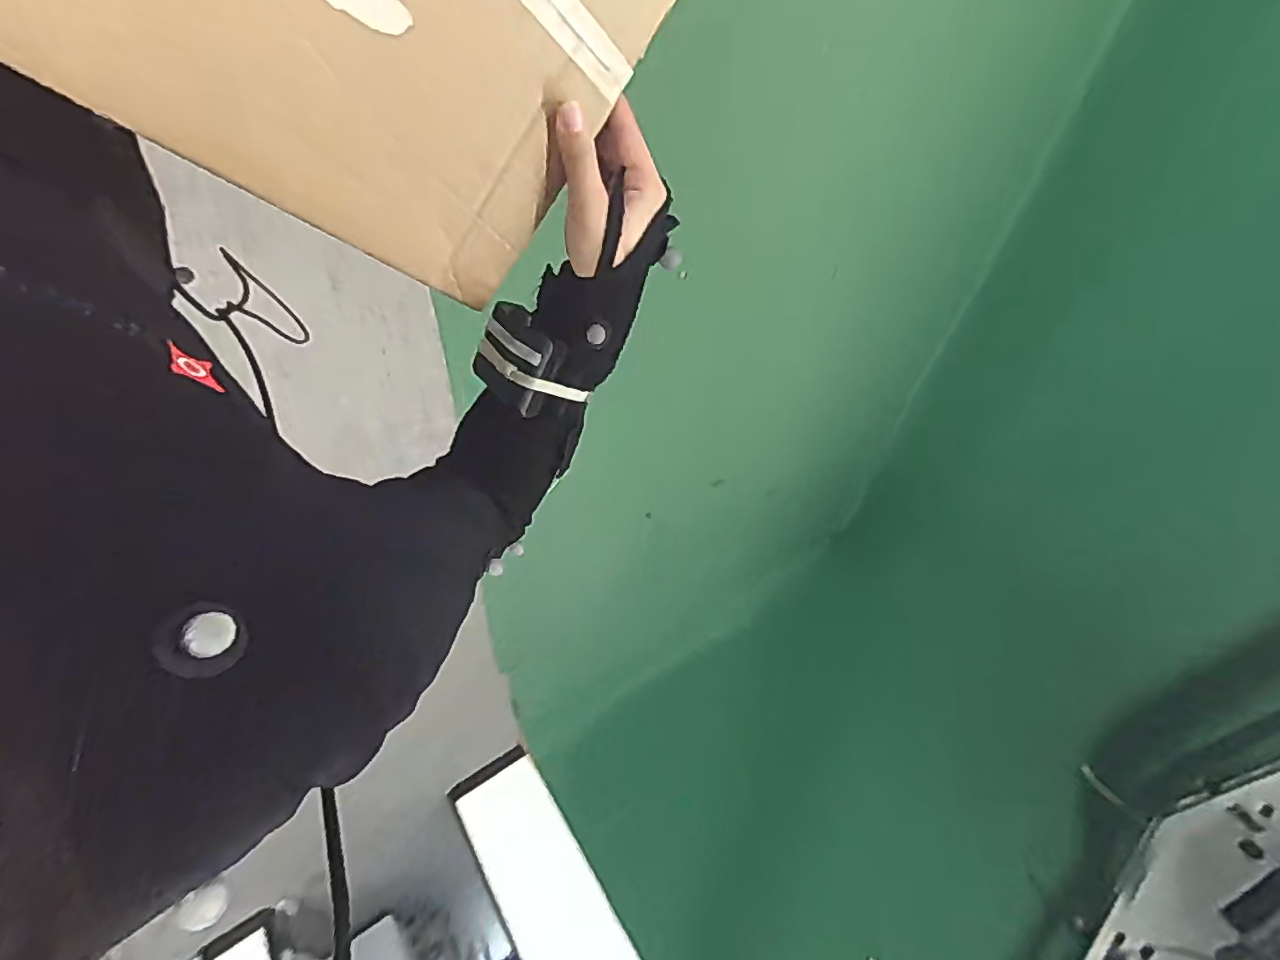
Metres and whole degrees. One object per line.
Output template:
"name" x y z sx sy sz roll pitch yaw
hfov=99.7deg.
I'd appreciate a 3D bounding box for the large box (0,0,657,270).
"large box" -0.209 -0.374 0.235 0.408 0.320 0.320 16 119 -51
